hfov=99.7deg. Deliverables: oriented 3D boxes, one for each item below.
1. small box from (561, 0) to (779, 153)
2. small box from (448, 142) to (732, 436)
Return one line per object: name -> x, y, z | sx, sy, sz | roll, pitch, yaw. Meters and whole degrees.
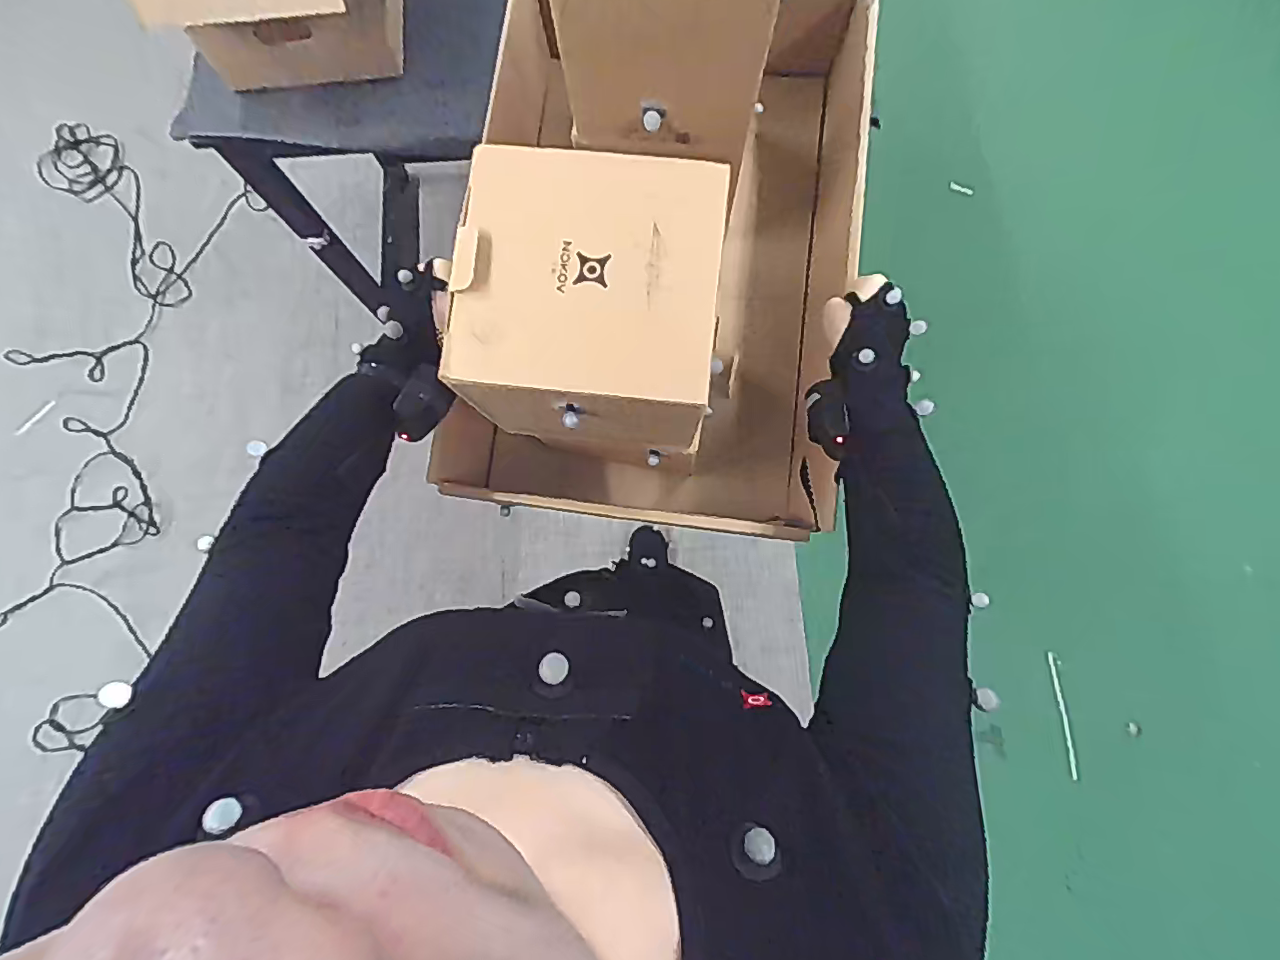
small box -> 0.029, -0.423, 0.460 | 0.168, 0.176, 0.179 | 7, 86, 2
small box -> -0.030, -0.135, 0.439 | 0.179, 0.176, 0.168 | 6, 85, 1
